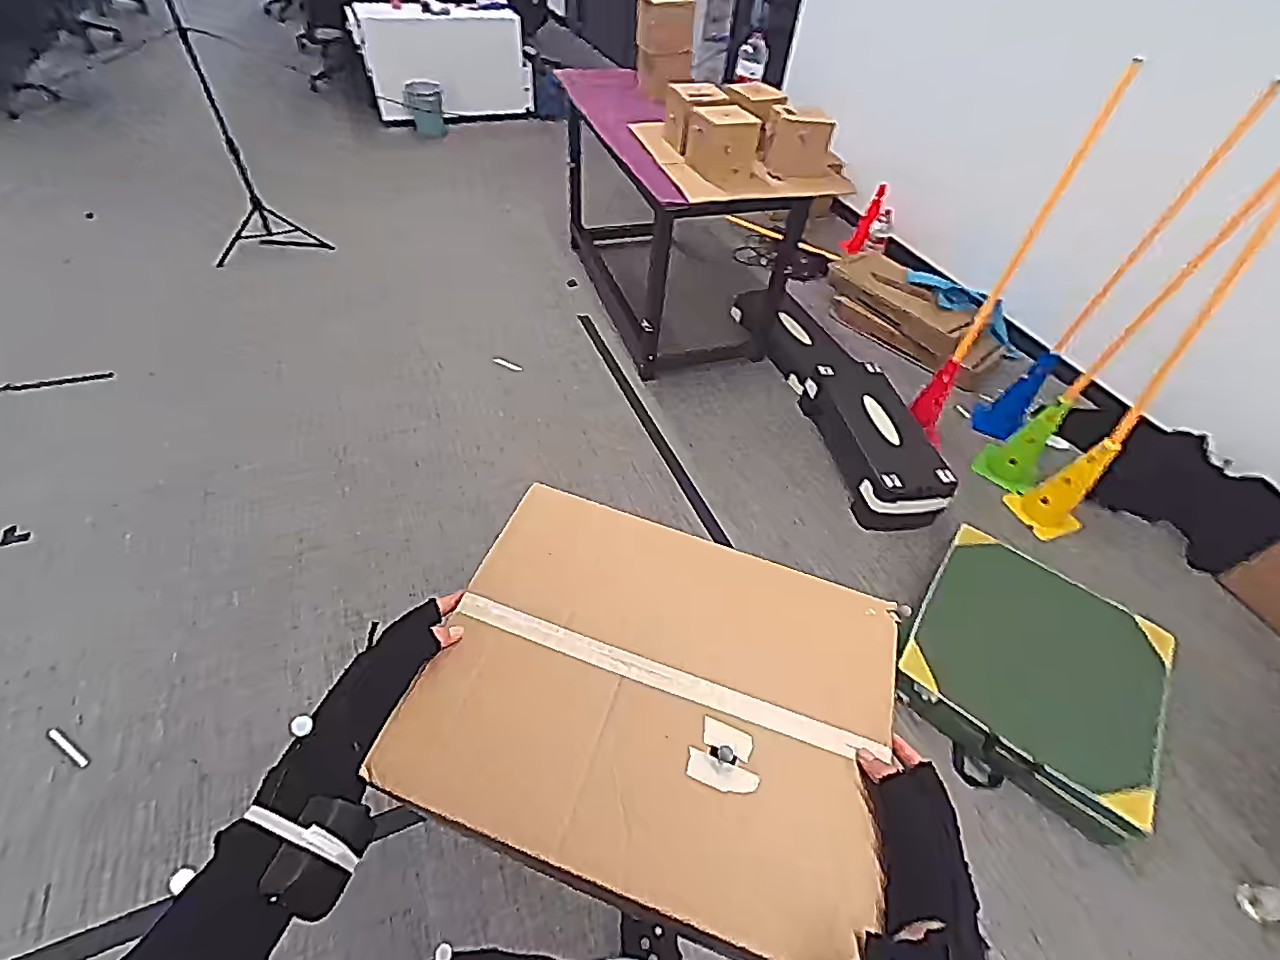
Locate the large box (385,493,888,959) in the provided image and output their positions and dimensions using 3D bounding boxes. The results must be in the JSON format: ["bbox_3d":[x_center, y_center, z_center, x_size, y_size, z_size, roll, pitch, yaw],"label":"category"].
[{"bbox_3d":[0.011,0.273,0.616,0.408,0.320,0.320,19,53,7],"label":"large box"}]
